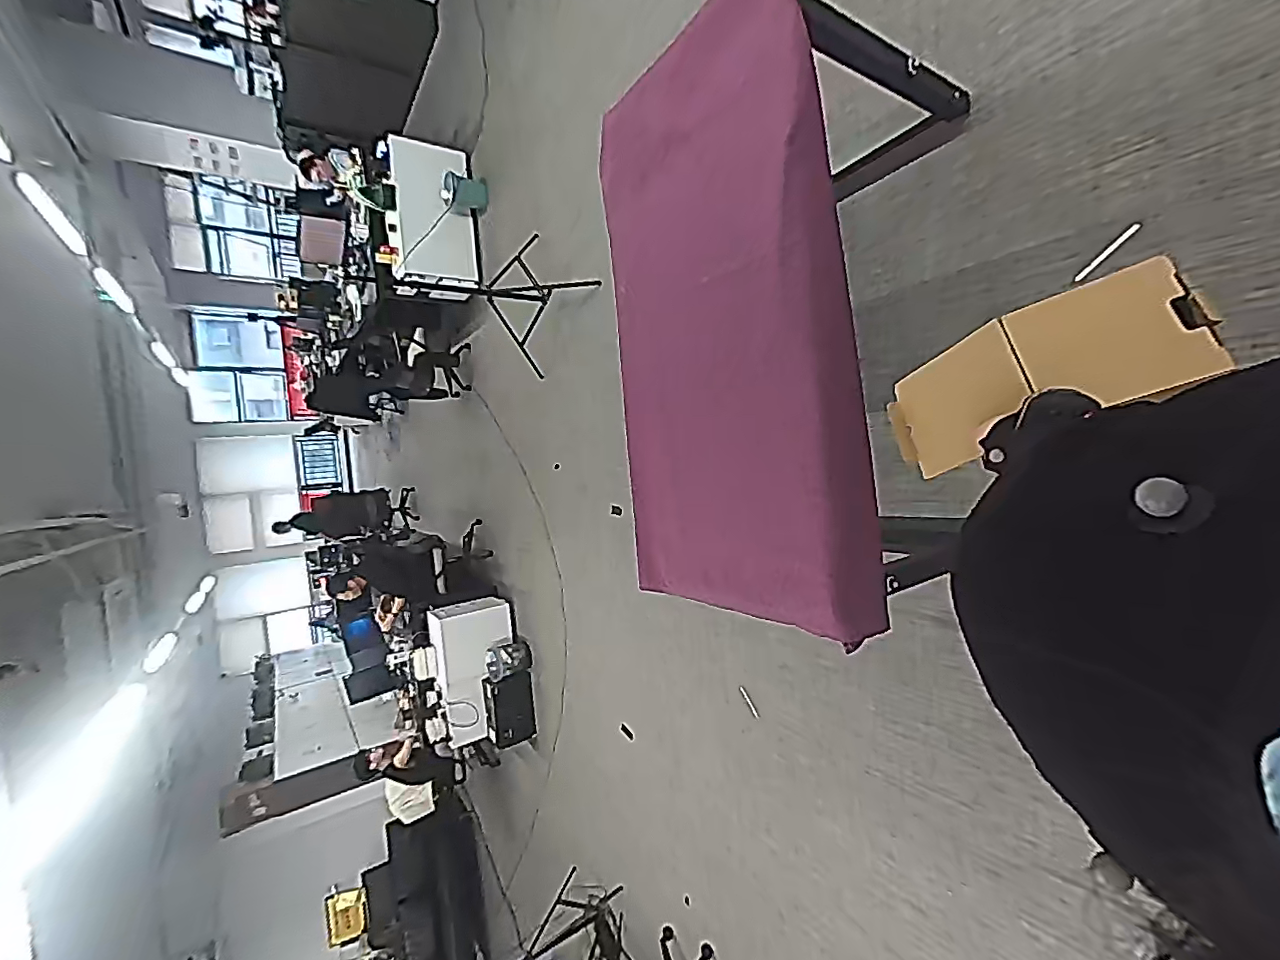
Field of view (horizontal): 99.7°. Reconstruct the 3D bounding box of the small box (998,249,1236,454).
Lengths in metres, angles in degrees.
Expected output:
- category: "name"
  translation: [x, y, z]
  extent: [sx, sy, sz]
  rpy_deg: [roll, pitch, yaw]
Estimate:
- category: "small box"
  translation: [0.593, -0.148, 0.699]
  extent: [0.179, 0.176, 0.168]
  rpy_deg: [-20, 66, 29]
